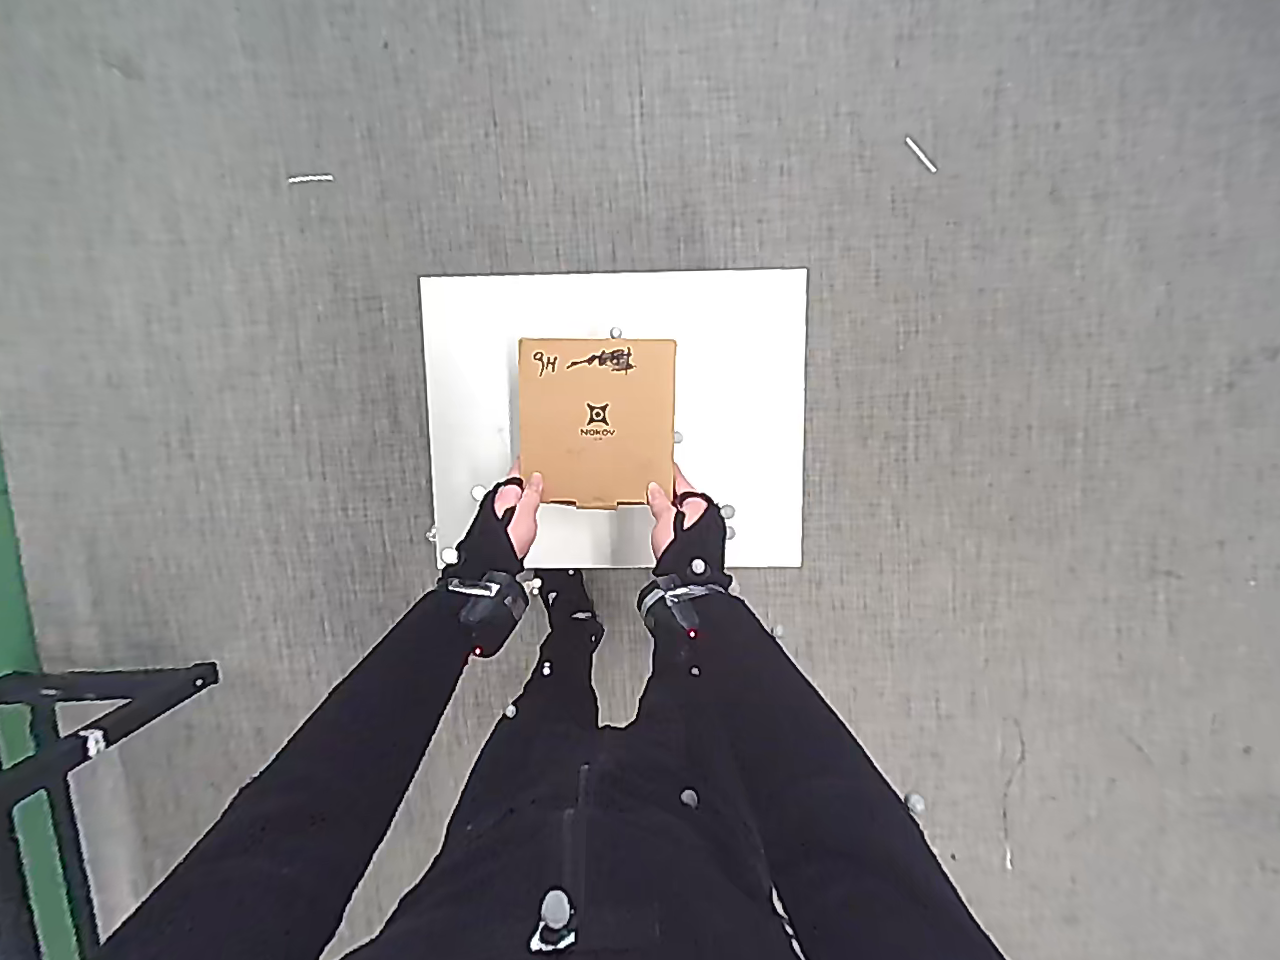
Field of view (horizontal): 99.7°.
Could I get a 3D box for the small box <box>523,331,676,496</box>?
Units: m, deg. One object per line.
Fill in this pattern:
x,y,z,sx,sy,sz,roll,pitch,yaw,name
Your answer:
-0.040,-0.079,0.659,0.168,0.176,0.179,-1,96,2,small box
